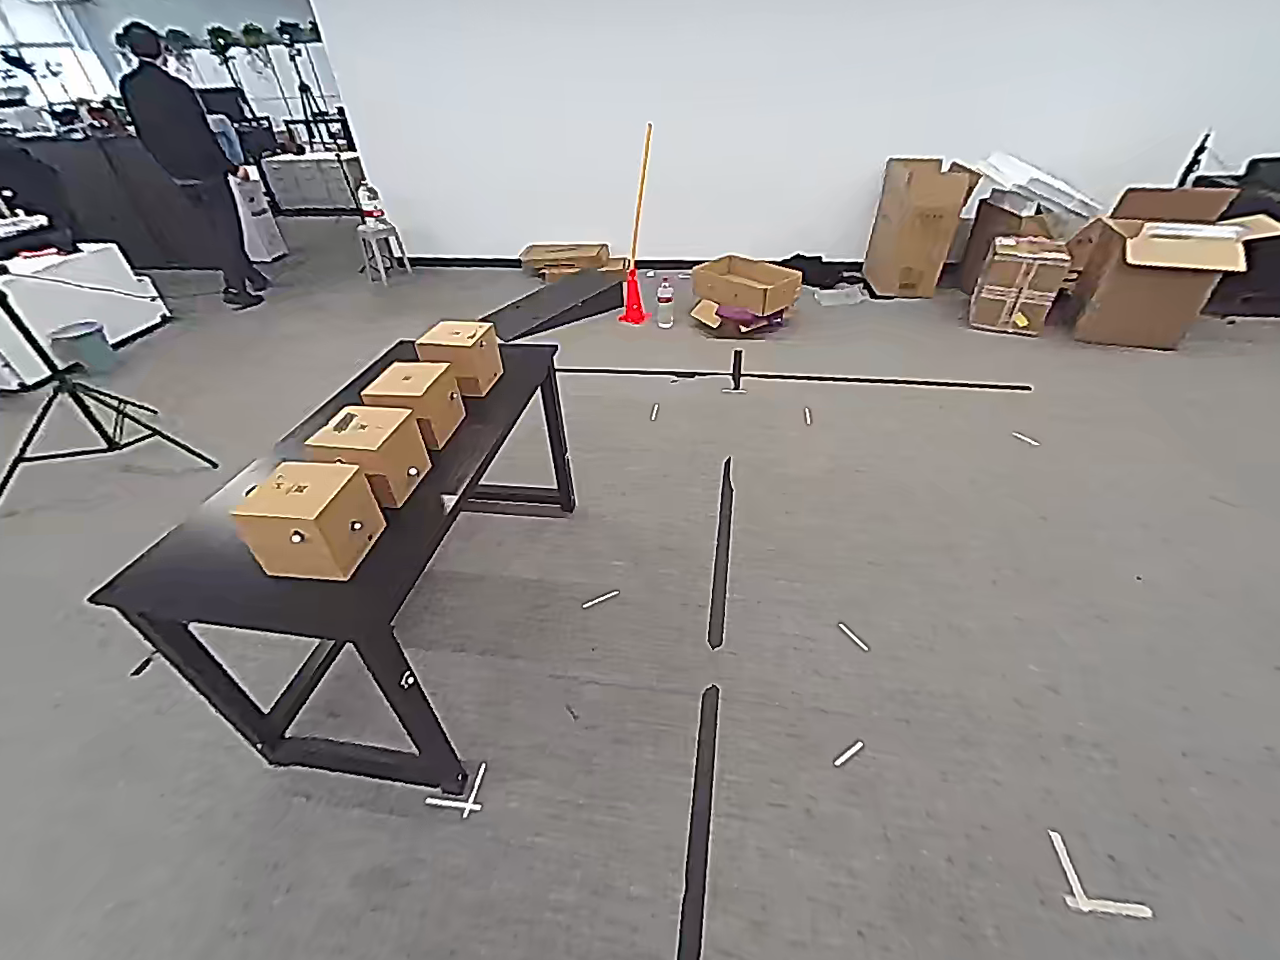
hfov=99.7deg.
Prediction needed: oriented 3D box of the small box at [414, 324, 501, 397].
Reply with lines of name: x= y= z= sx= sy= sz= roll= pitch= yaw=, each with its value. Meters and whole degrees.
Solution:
small box: x=-0.548 y=-0.364 z=1.650 sx=0.179 sy=0.176 sz=0.168 roll=4 pitch=40 yaw=10

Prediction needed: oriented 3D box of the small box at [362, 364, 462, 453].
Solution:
small box: x=-0.596 y=-0.193 z=1.443 sx=0.168 sy=0.176 sz=0.179 roll=2 pitch=40 yaw=8
